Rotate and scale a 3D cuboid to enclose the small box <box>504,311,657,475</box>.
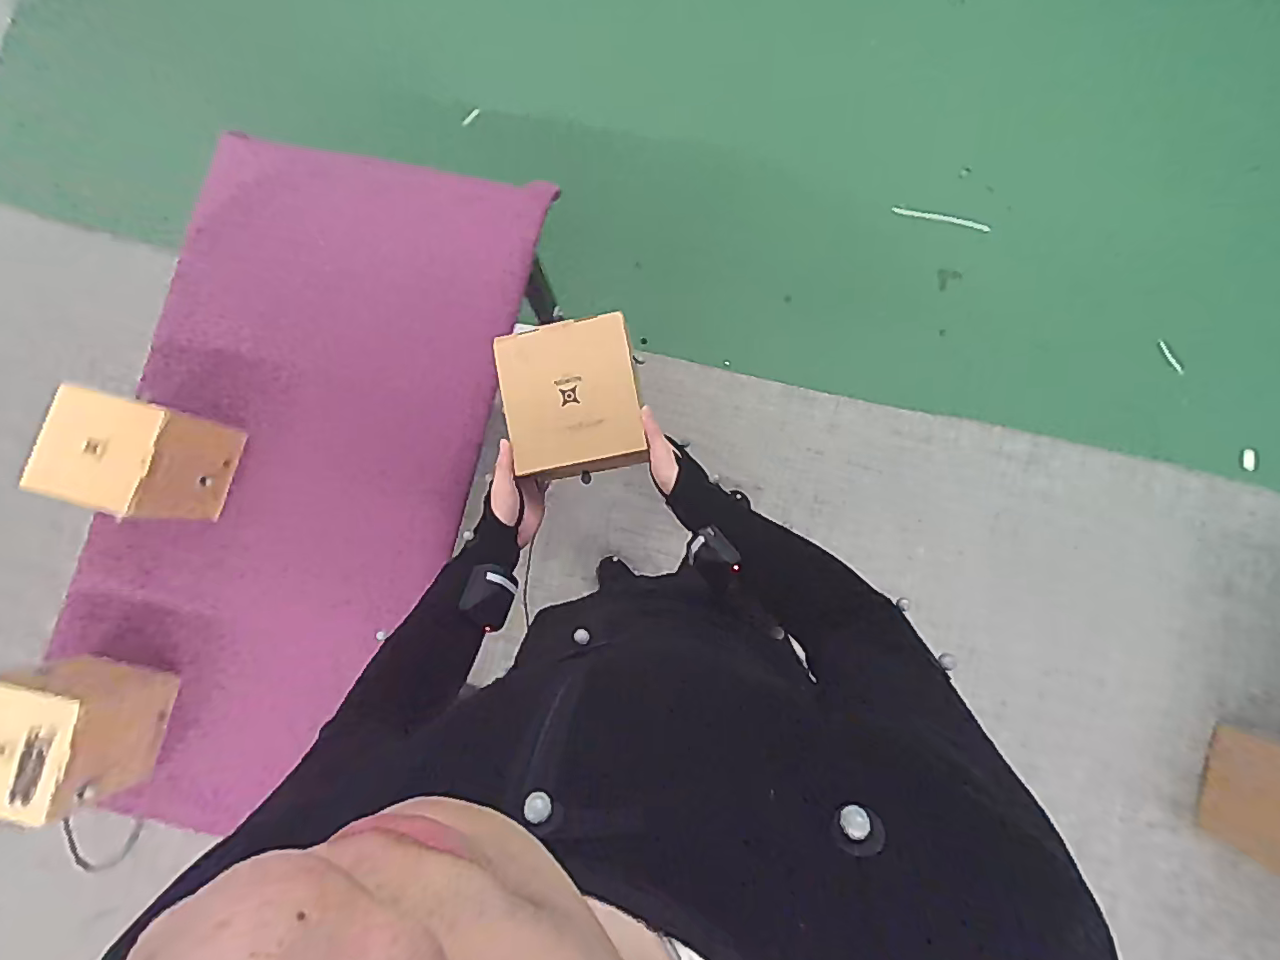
[{"bbox_3d":[-0.072,-0.108,0.746,0.168,0.176,0.179,-9,87,6],"label":"small box"}]

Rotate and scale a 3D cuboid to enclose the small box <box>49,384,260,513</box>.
[{"bbox_3d":[-0.803,-0.043,0.915,0.179,0.176,0.168,14,84,3],"label":"small box"}]
